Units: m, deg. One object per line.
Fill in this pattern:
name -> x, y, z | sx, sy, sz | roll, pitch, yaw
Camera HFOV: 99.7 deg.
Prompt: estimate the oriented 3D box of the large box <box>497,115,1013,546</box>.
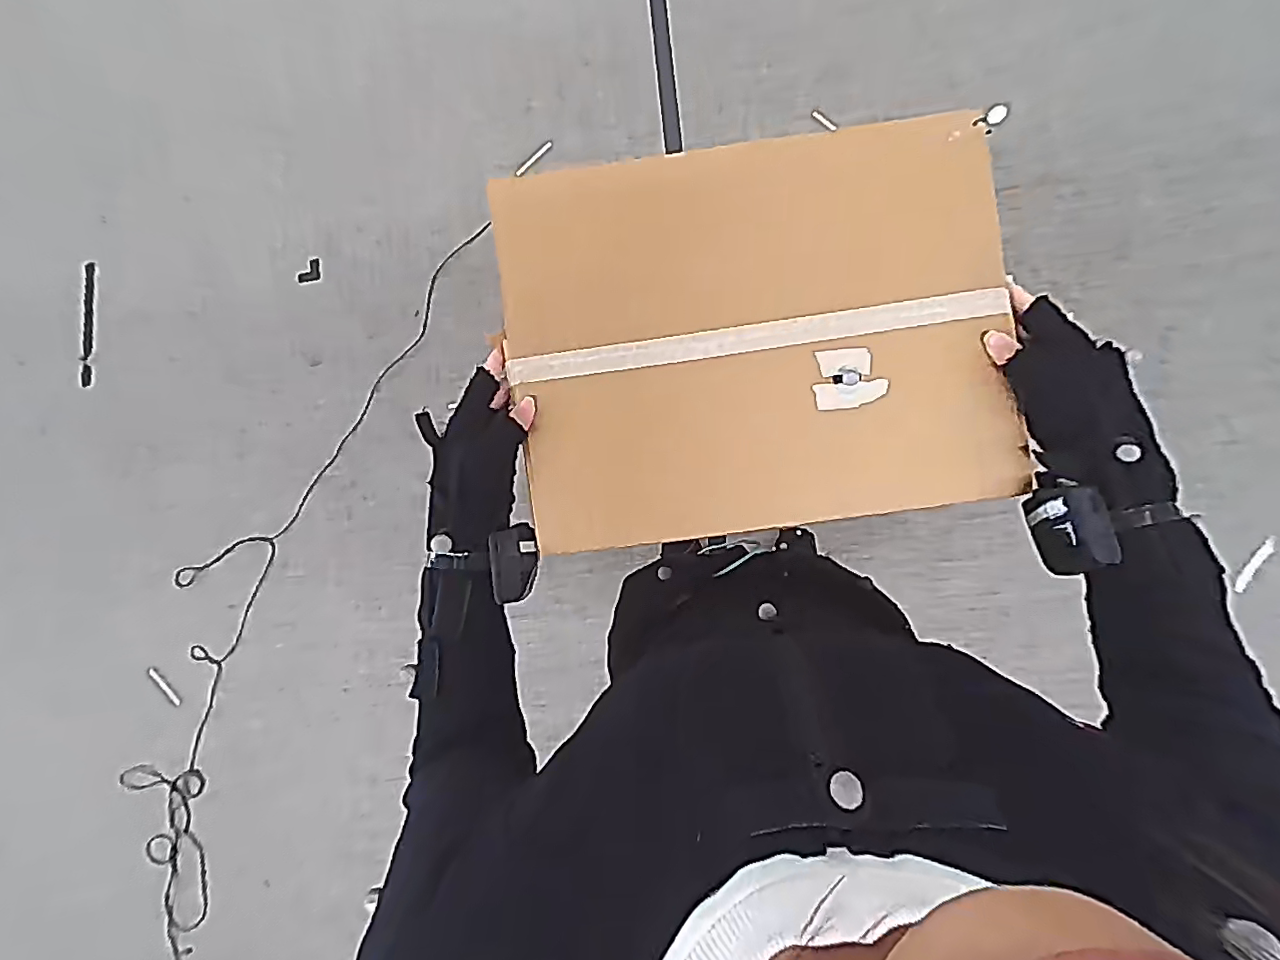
large box -> 0.097, -0.125, 0.603 | 0.408, 0.320, 0.320 | -8, 91, 1
